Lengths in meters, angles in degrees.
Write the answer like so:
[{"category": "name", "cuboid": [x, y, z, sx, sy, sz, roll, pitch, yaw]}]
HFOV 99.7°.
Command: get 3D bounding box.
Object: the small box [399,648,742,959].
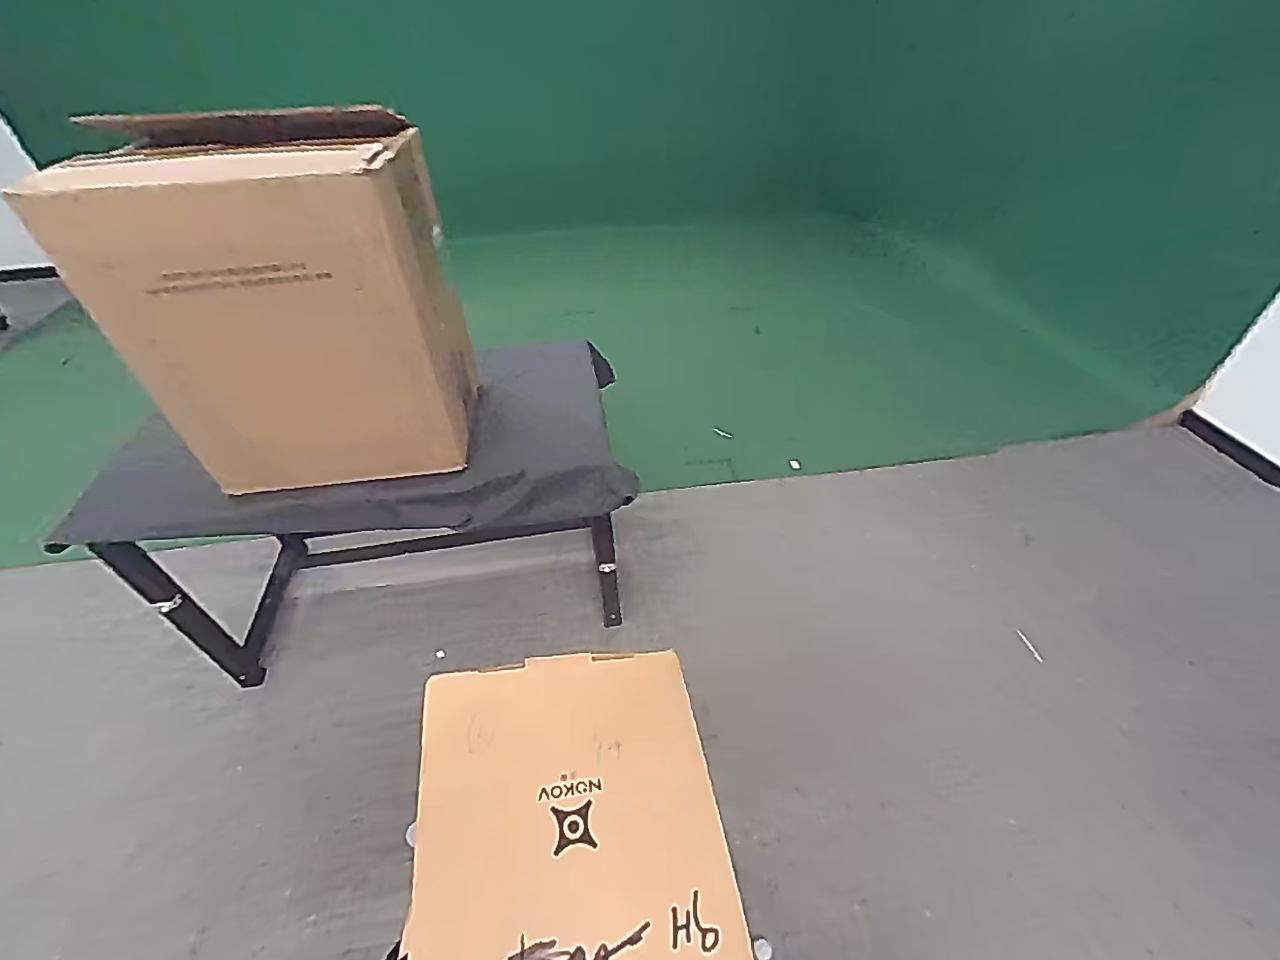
[{"category": "small box", "cuboid": [-0.056, 0.238, 0.361, 0.168, 0.176, 0.179, -2, 46, -14]}]
